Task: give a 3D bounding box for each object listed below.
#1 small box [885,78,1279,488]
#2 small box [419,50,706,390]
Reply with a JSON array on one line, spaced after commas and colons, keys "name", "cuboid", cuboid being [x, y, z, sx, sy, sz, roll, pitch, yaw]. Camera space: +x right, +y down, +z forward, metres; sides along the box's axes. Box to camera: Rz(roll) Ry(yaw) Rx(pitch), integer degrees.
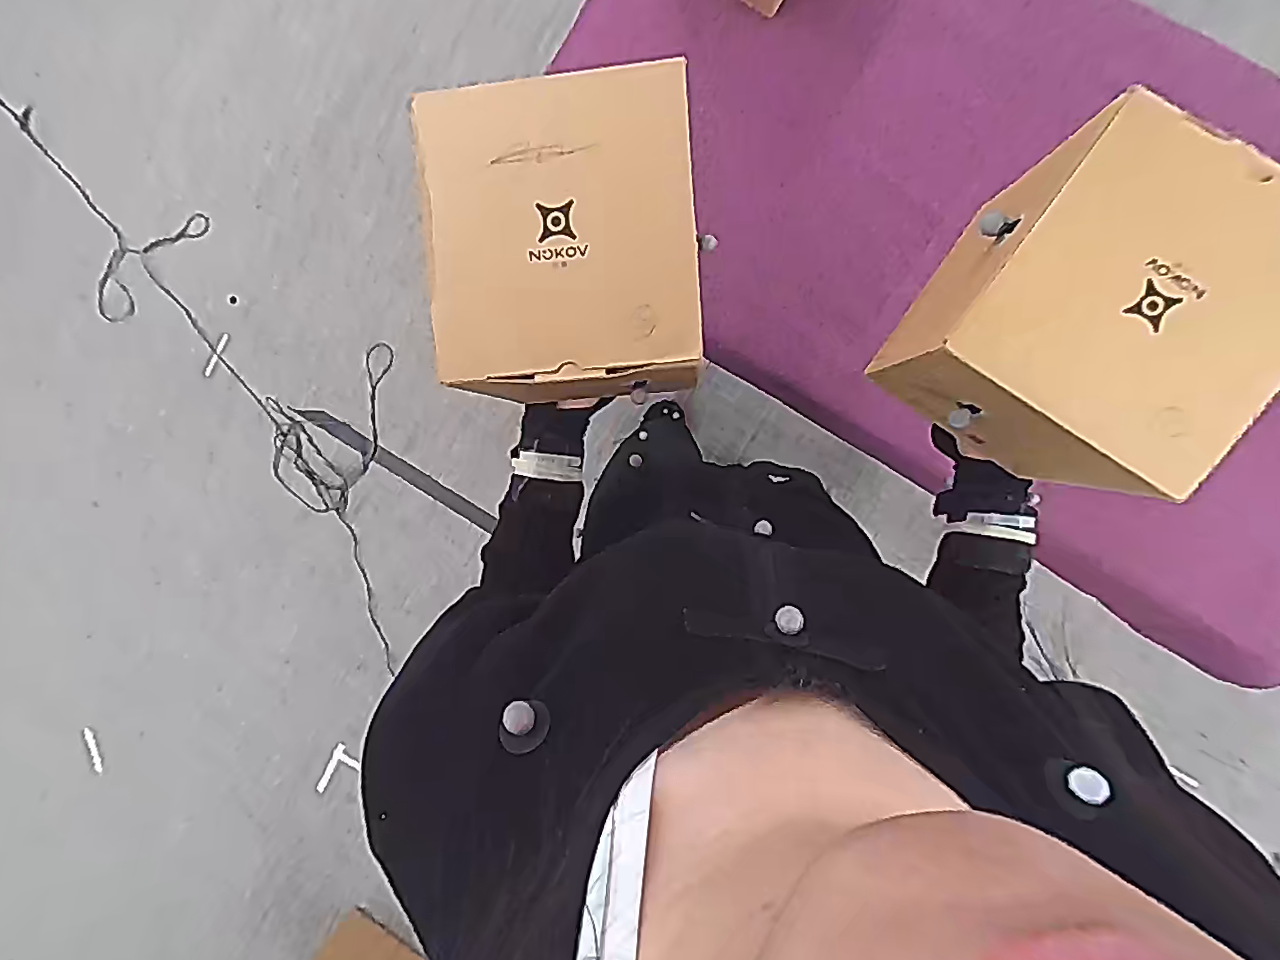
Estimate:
[{"name": "small box", "cuboid": [0.305, -0.115, 0.388, 0.168, 0.176, 0.179, 35, 97, 3]}, {"name": "small box", "cuboid": [-0.040, -0.162, 0.402, 0.168, 0.176, 0.179, -4, 94, 4]}]
